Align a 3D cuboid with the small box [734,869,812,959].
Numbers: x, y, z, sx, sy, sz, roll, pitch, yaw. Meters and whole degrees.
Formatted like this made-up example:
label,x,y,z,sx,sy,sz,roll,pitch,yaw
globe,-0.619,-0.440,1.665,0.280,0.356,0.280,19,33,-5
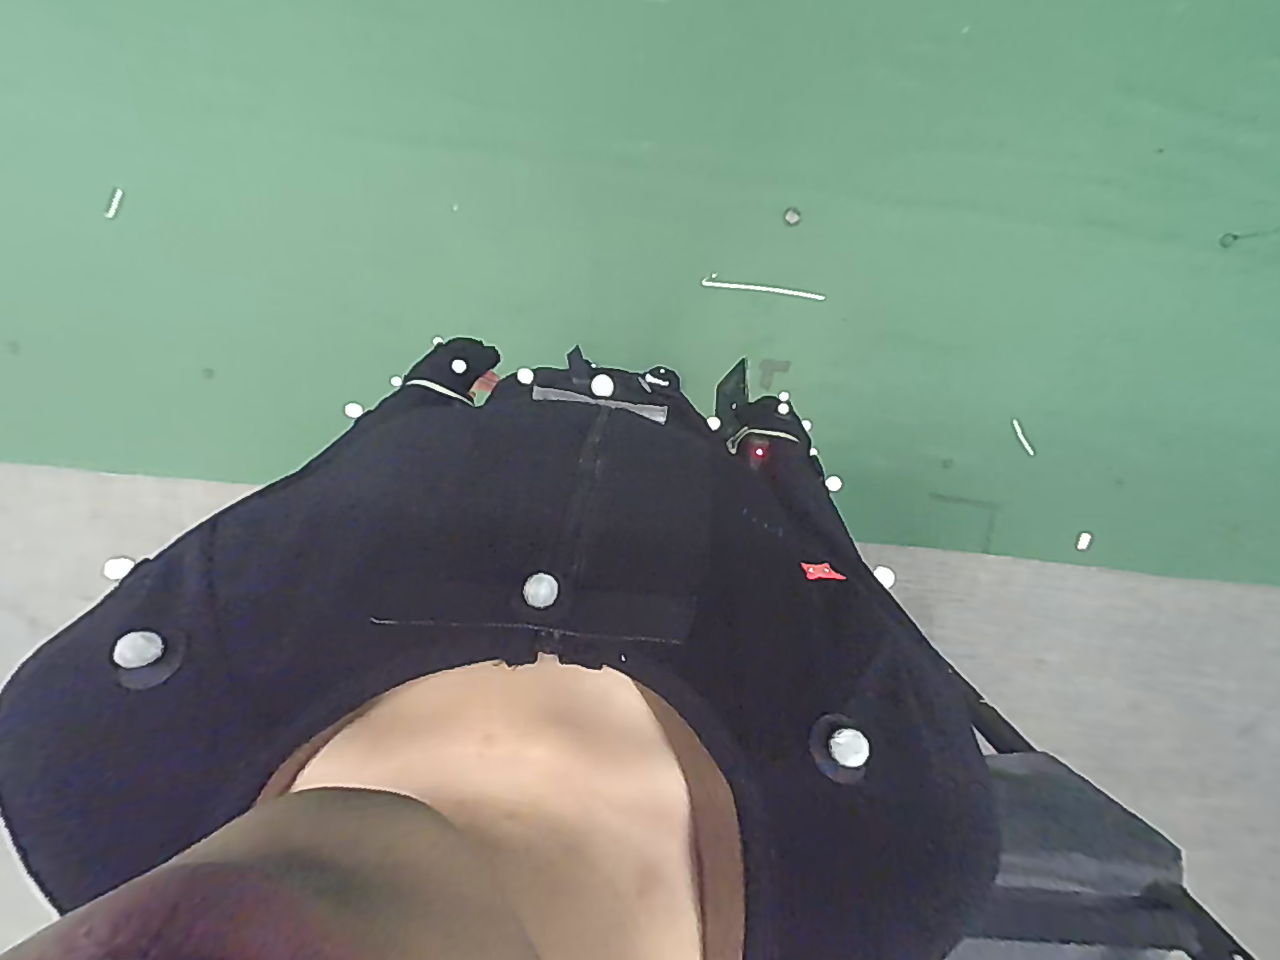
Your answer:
label,x,y,z,sx,sy,sz,roll,pitch,yaw
small box,0.387,1.306,1.613,0.179,0.176,0.168,8,103,-2
